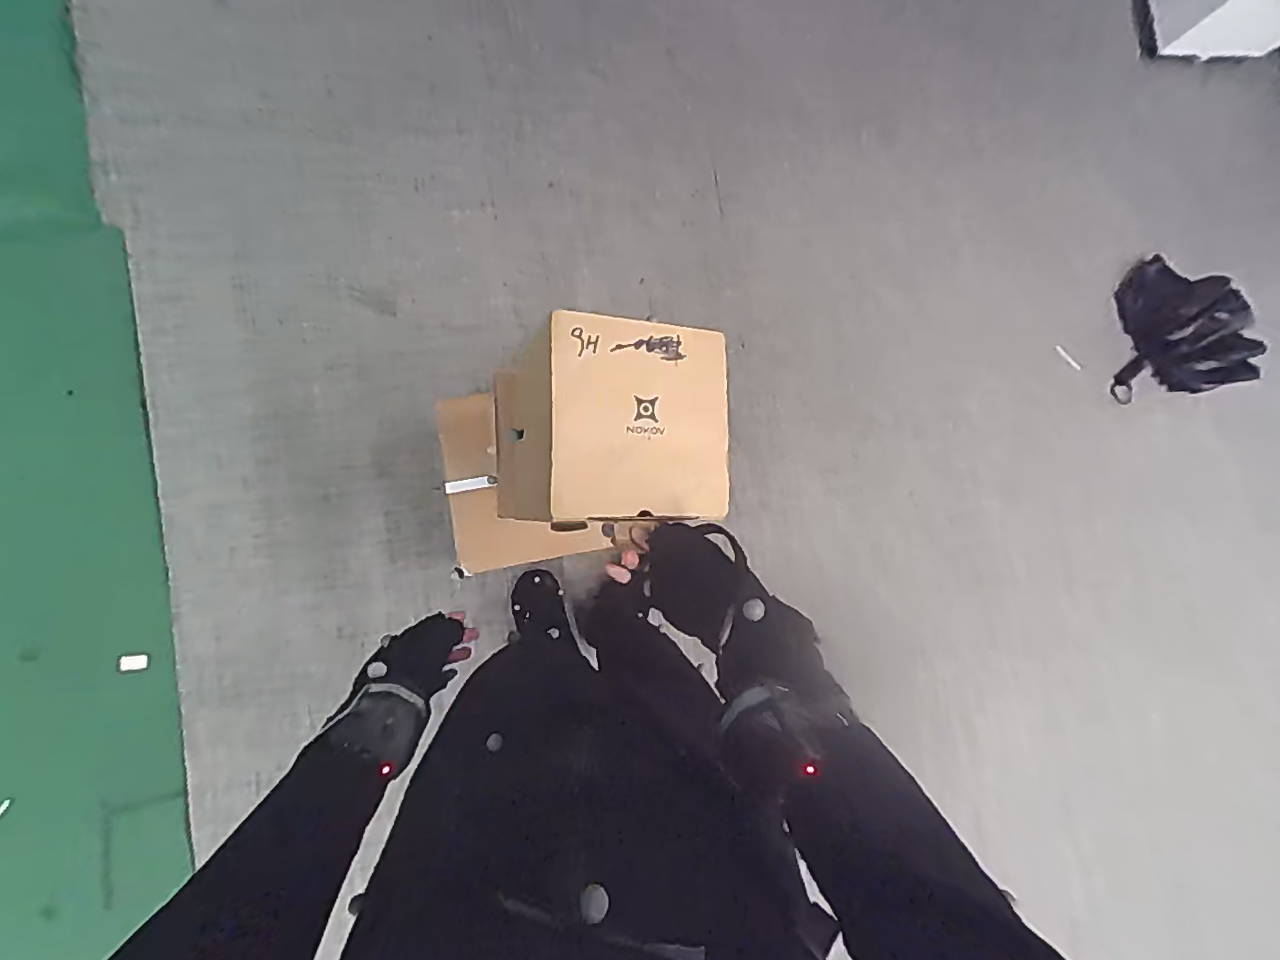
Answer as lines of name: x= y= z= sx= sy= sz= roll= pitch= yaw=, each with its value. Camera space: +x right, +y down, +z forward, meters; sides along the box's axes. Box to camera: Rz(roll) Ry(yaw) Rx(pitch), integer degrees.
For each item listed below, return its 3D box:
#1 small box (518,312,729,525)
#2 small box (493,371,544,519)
small box: x=-0.025 y=-0.047 z=0.546 sx=0.168 sy=0.176 sz=0.179 roll=2 pitch=86 yaw=-23
small box: x=-0.106 y=-0.045 z=0.726 sx=0.168 sy=0.176 sz=0.179 roll=-2 pitch=91 yaw=-12
